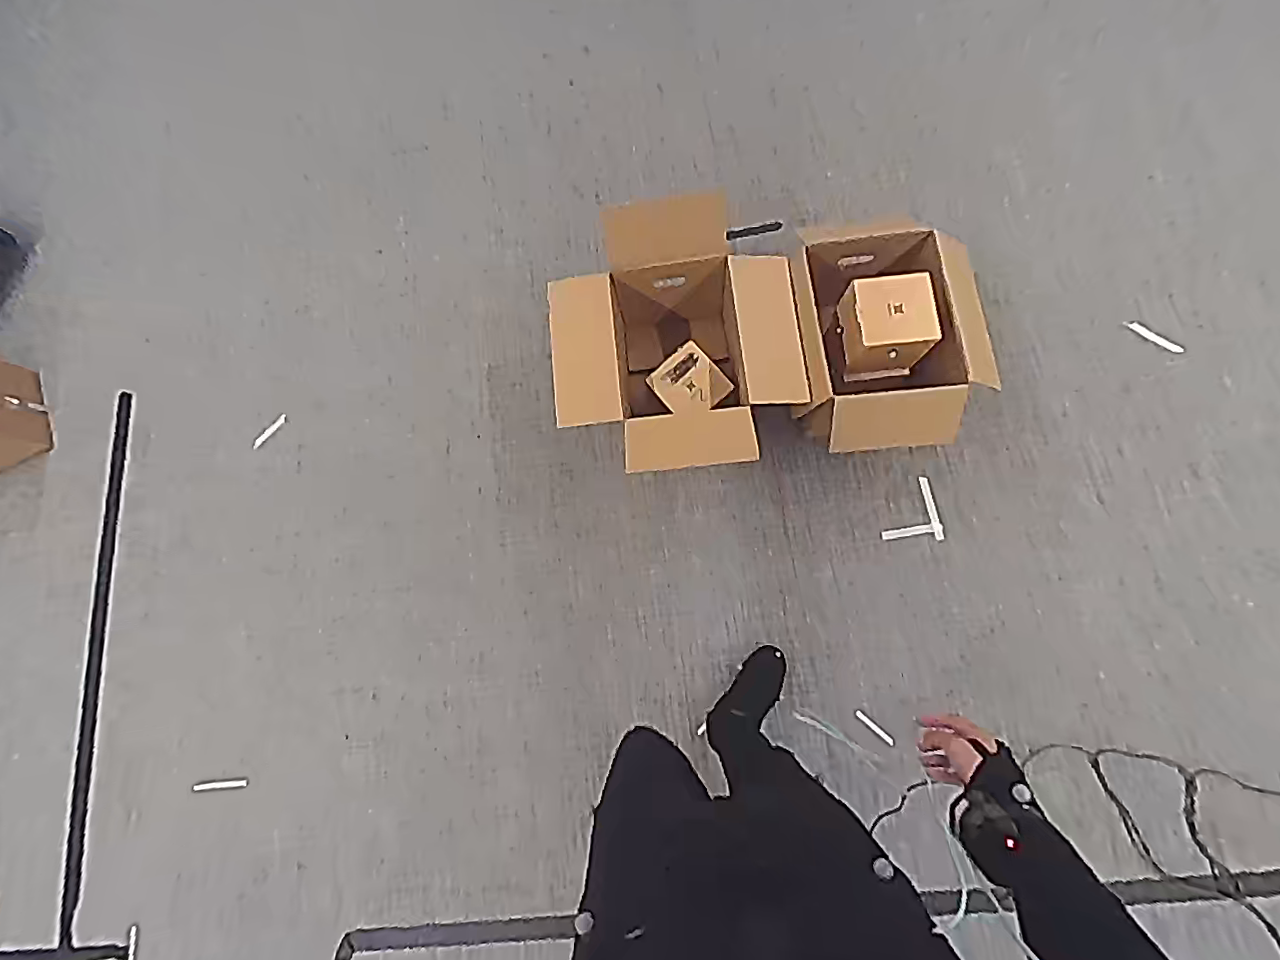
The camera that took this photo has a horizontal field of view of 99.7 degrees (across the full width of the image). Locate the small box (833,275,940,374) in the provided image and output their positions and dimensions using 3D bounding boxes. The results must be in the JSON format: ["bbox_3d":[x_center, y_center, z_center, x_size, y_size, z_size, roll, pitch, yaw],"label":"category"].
[{"bbox_3d":[0.582,-0.365,1.296,0.179,0.176,0.168,-6,79,4],"label":"small box"}]
